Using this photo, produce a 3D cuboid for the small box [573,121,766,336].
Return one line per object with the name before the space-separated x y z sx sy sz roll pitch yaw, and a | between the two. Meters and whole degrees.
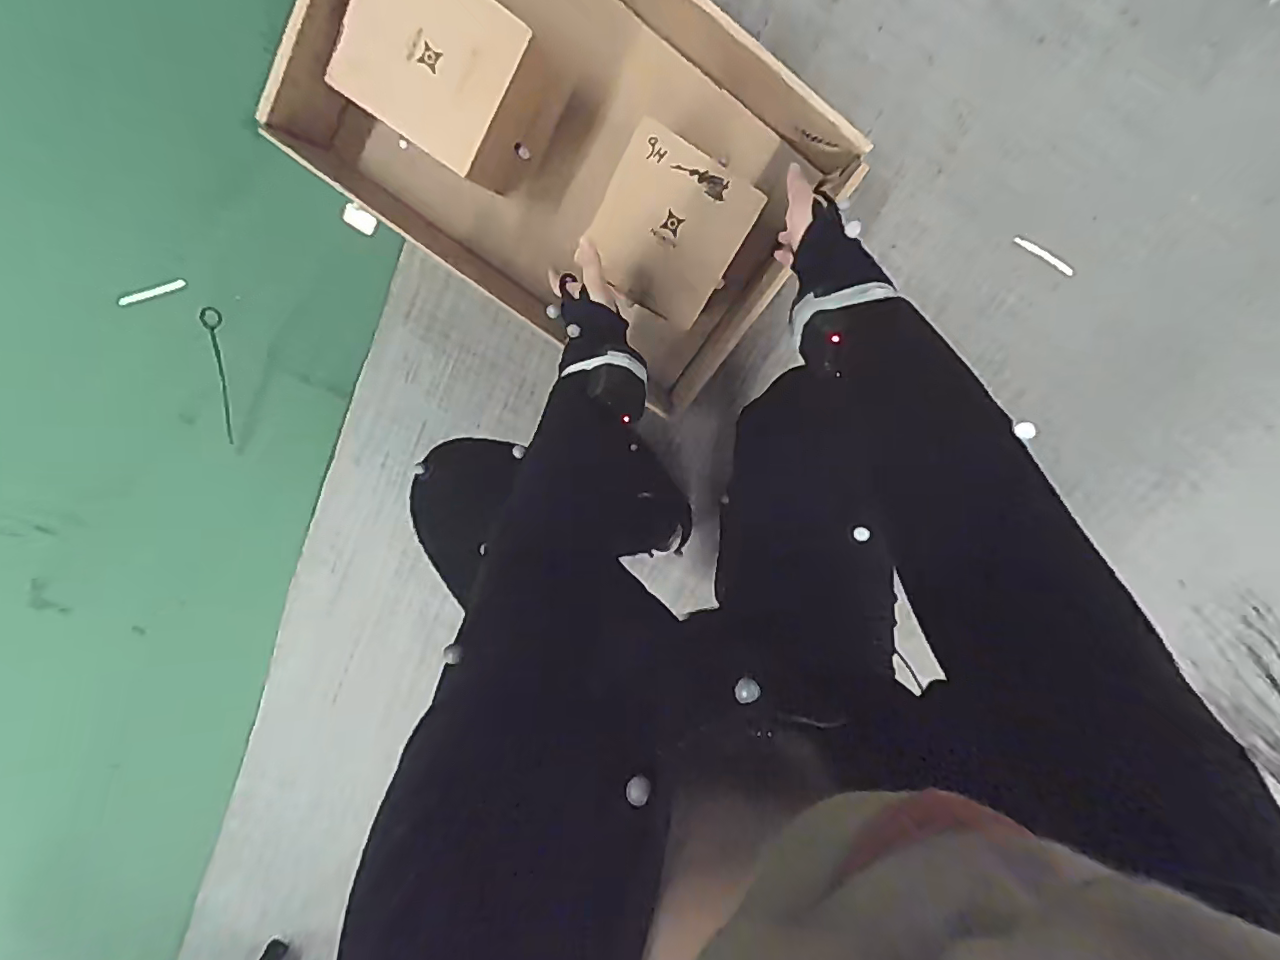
small box | 0.036 -0.312 0.702 0.168 0.176 0.179 30 109 -9
